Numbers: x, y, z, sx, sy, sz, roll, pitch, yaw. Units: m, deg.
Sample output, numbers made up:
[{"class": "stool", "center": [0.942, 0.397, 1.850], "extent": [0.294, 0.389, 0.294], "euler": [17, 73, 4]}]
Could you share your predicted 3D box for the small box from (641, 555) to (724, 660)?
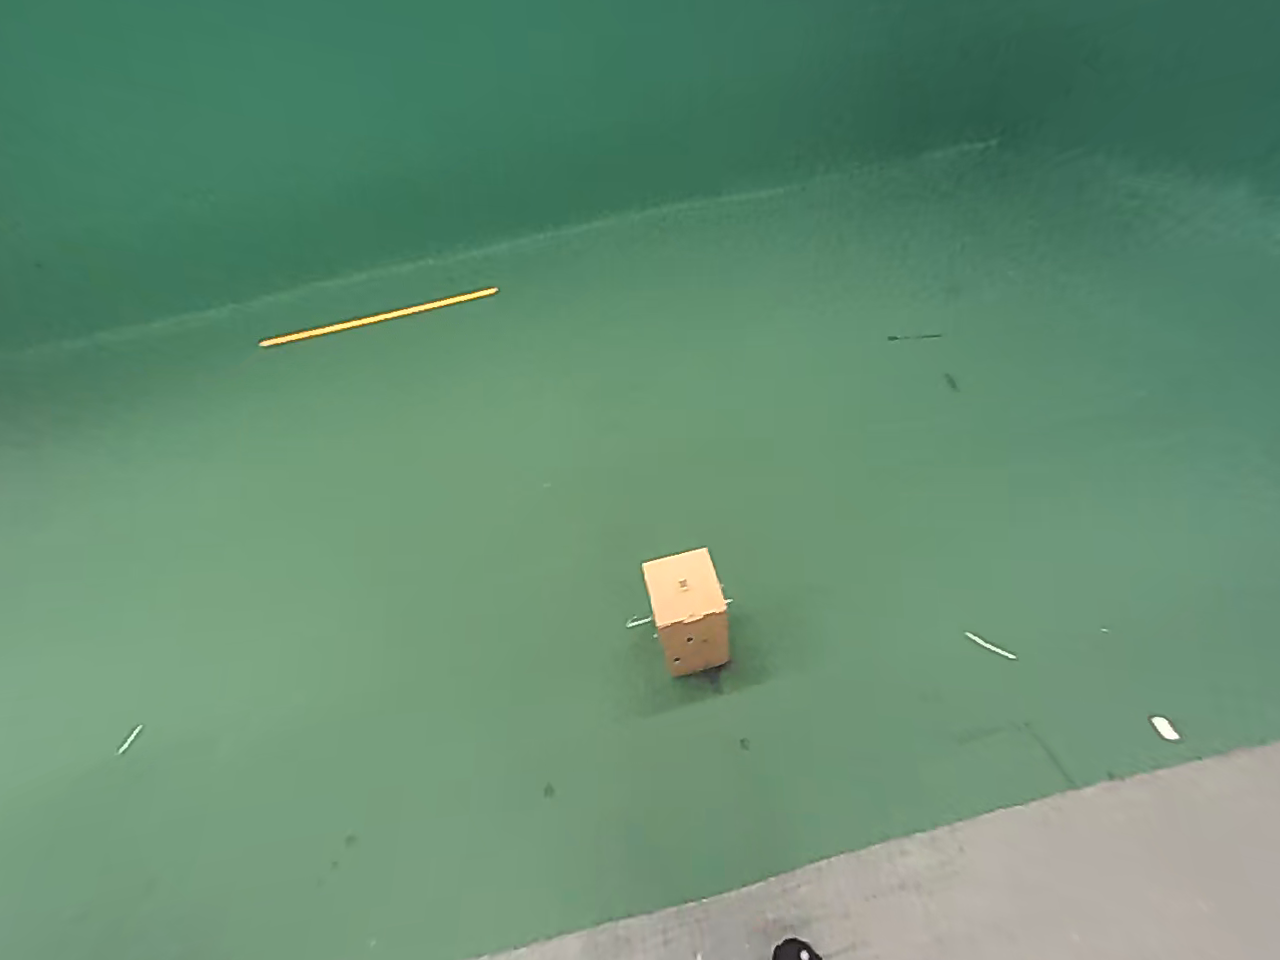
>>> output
[{"class": "small box", "center": [0.101, 0.314, 1.331], "extent": [0.168, 0.176, 0.179], "euler": [-12, 50, -4]}]
